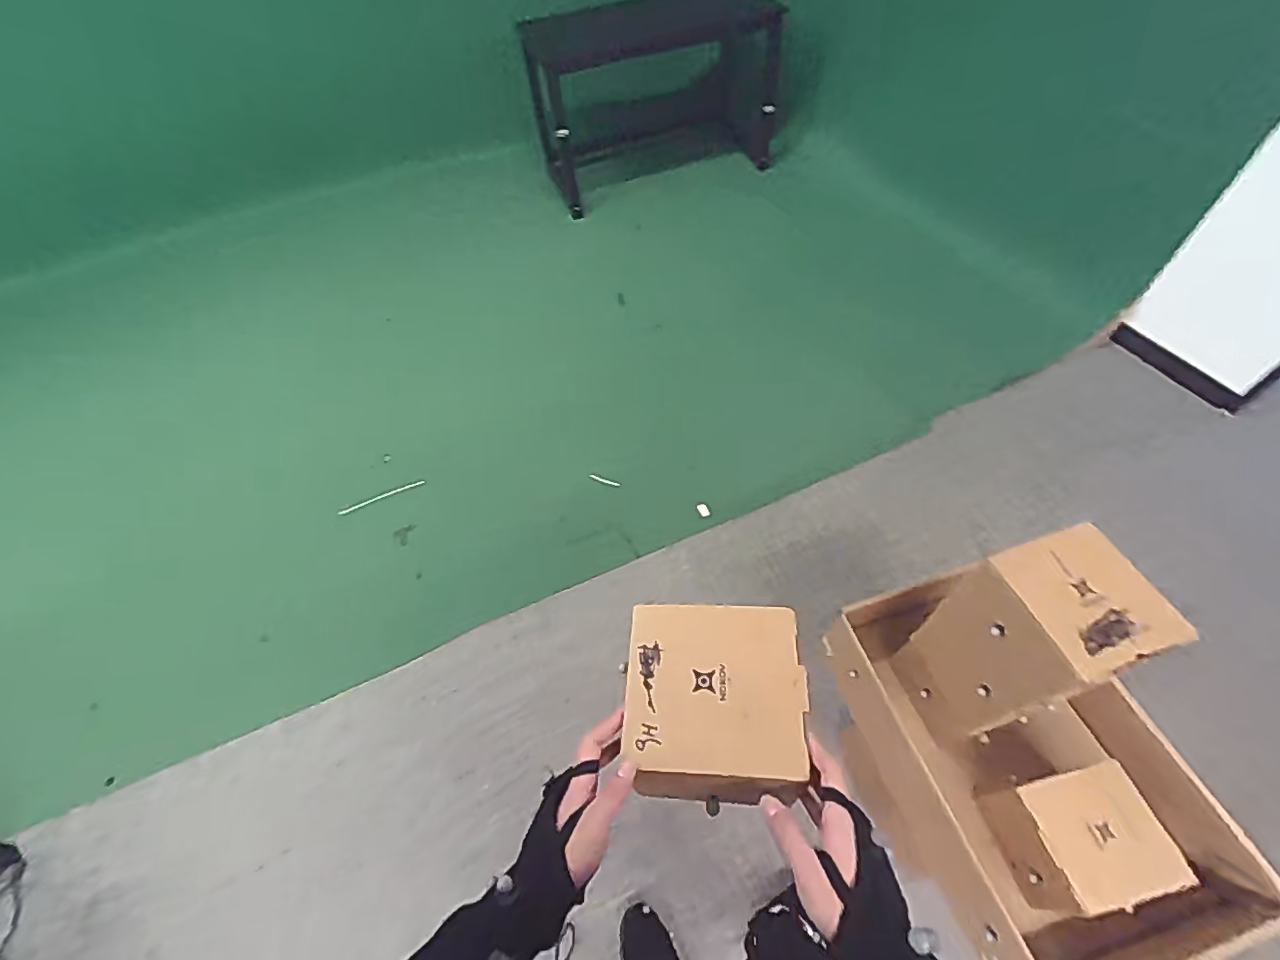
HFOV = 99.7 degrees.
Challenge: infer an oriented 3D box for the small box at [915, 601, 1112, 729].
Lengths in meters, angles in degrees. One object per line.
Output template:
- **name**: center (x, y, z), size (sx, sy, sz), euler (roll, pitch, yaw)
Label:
- **small box**: center (0.587, 0.283, 0.884), size (0.168, 0.176, 0.179), euler (-16, 56, -5)

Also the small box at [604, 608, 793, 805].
- **small box**: center (0.067, 0.257, 0.607), size (0.179, 0.176, 0.168), euler (-1, 53, 8)

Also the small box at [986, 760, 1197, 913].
- **small box**: center (0.697, 0.570, 0.870), size (0.179, 0.176, 0.168), euler (-14, 56, -2)

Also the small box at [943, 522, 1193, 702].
- **small box**: center (0.567, 0.191, 0.749), size (0.168, 0.176, 0.179), euler (-18, 56, -6)
